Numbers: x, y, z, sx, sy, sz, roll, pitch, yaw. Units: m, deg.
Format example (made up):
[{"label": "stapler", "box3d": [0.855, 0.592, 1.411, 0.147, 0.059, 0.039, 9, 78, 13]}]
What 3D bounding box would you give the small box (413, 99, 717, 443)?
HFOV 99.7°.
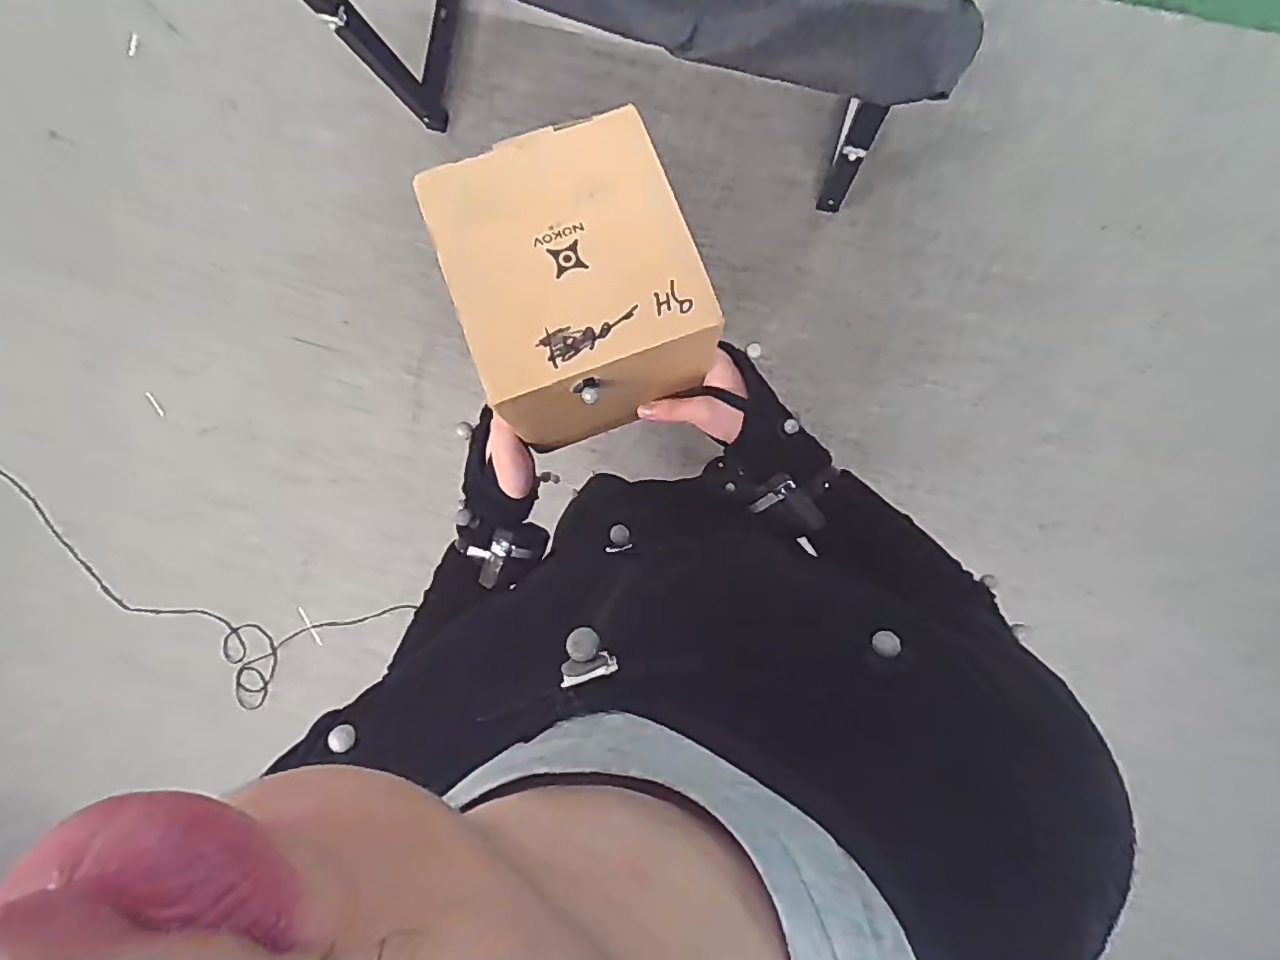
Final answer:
[{"label": "small box", "box3d": [-0.052, -0.150, 0.443, 0.168, 0.176, 0.179, -20, 82, -1]}]
